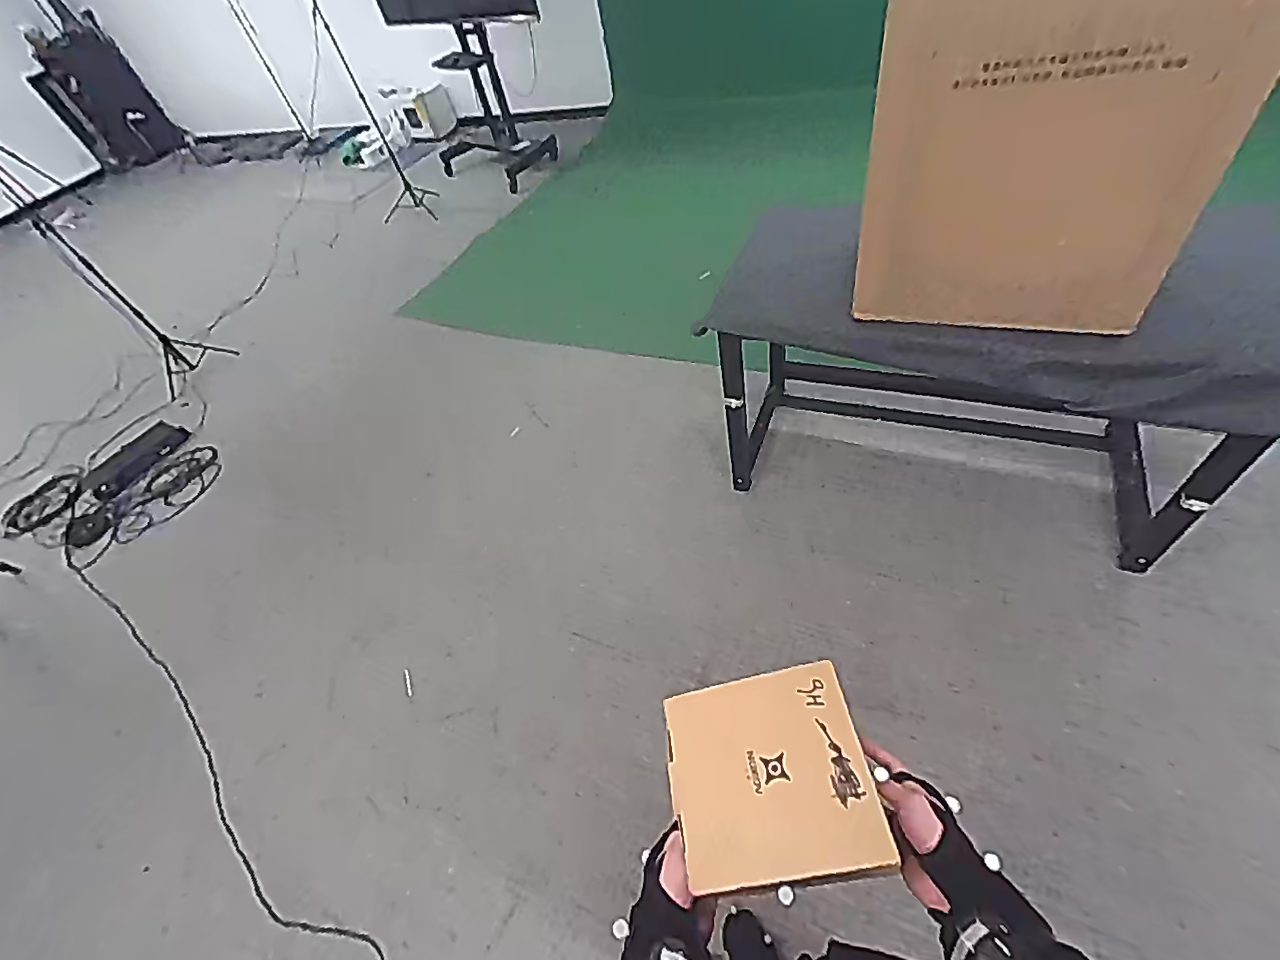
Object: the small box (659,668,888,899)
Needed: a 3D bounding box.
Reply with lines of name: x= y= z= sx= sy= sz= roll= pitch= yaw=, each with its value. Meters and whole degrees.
small box: x=0.136 y=0.314 z=0.550 sx=0.179 sy=0.176 sz=0.168 roll=-18 pitch=50 yaw=12
